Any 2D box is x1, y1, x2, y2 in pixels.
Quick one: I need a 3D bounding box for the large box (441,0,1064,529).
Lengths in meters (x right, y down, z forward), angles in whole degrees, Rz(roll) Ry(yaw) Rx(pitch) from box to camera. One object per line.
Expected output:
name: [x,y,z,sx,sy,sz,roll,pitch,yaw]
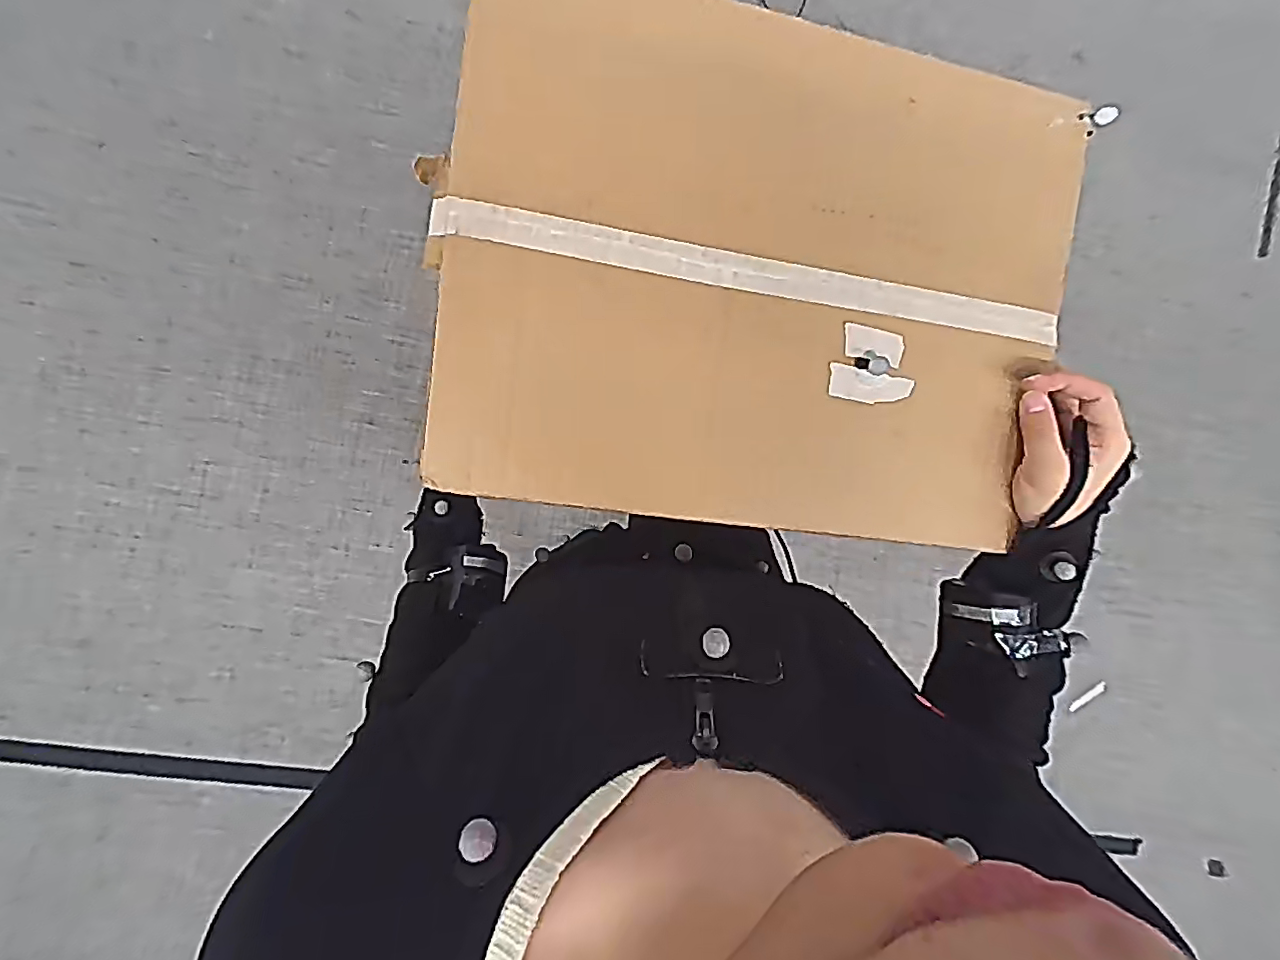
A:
large box: [0.061,-0.144,0.495,0.408,0.320,0.320,7,94,-12]
